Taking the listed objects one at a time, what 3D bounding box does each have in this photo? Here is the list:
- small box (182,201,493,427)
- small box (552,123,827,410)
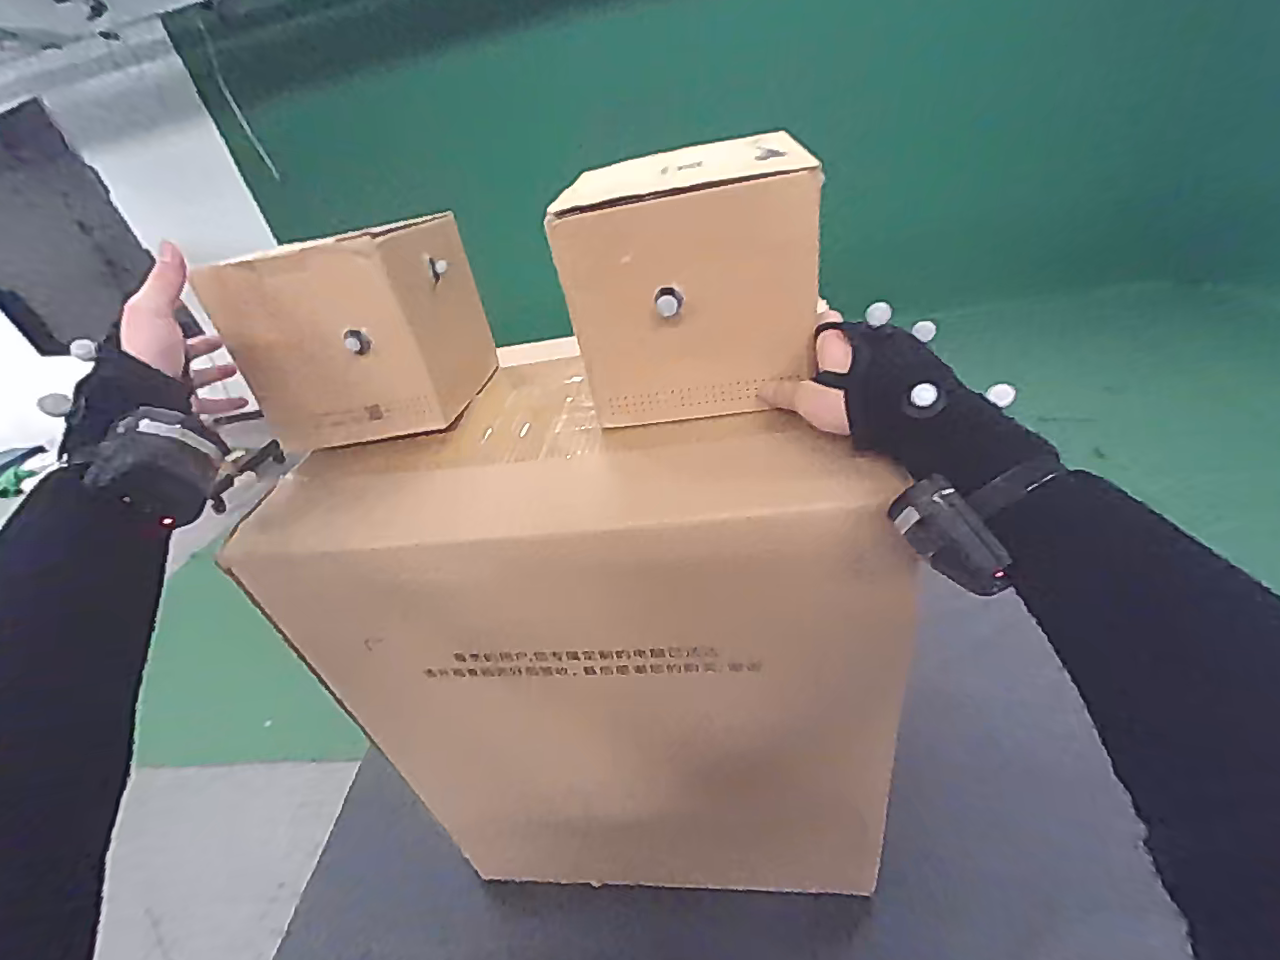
[{"bbox_3d":[-0.257,-0.156,0.516,0.168,0.176,0.179,-7,28,6],"label":"small box"},{"bbox_3d":[0.047,-0.170,0.442,0.179,0.176,0.168,-7,37,8],"label":"small box"}]
